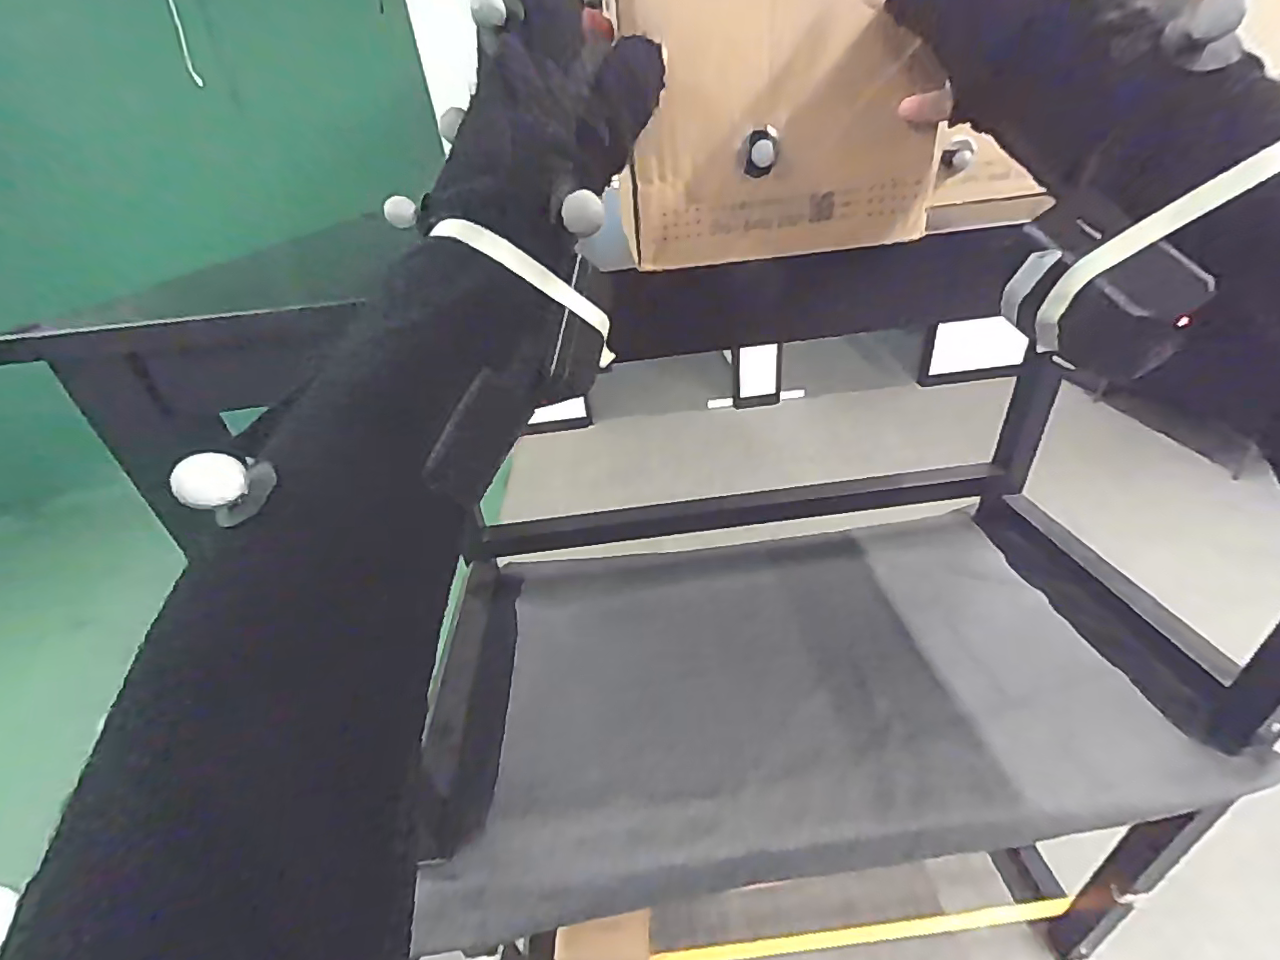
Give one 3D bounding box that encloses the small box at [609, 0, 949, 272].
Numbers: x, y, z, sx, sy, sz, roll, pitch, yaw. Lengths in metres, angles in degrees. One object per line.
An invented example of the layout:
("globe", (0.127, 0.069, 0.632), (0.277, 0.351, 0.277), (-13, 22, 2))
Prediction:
("small box", (0.068, -0.242, 0.353), (0.168, 0.176, 0.179), (-7, 33, 0))
